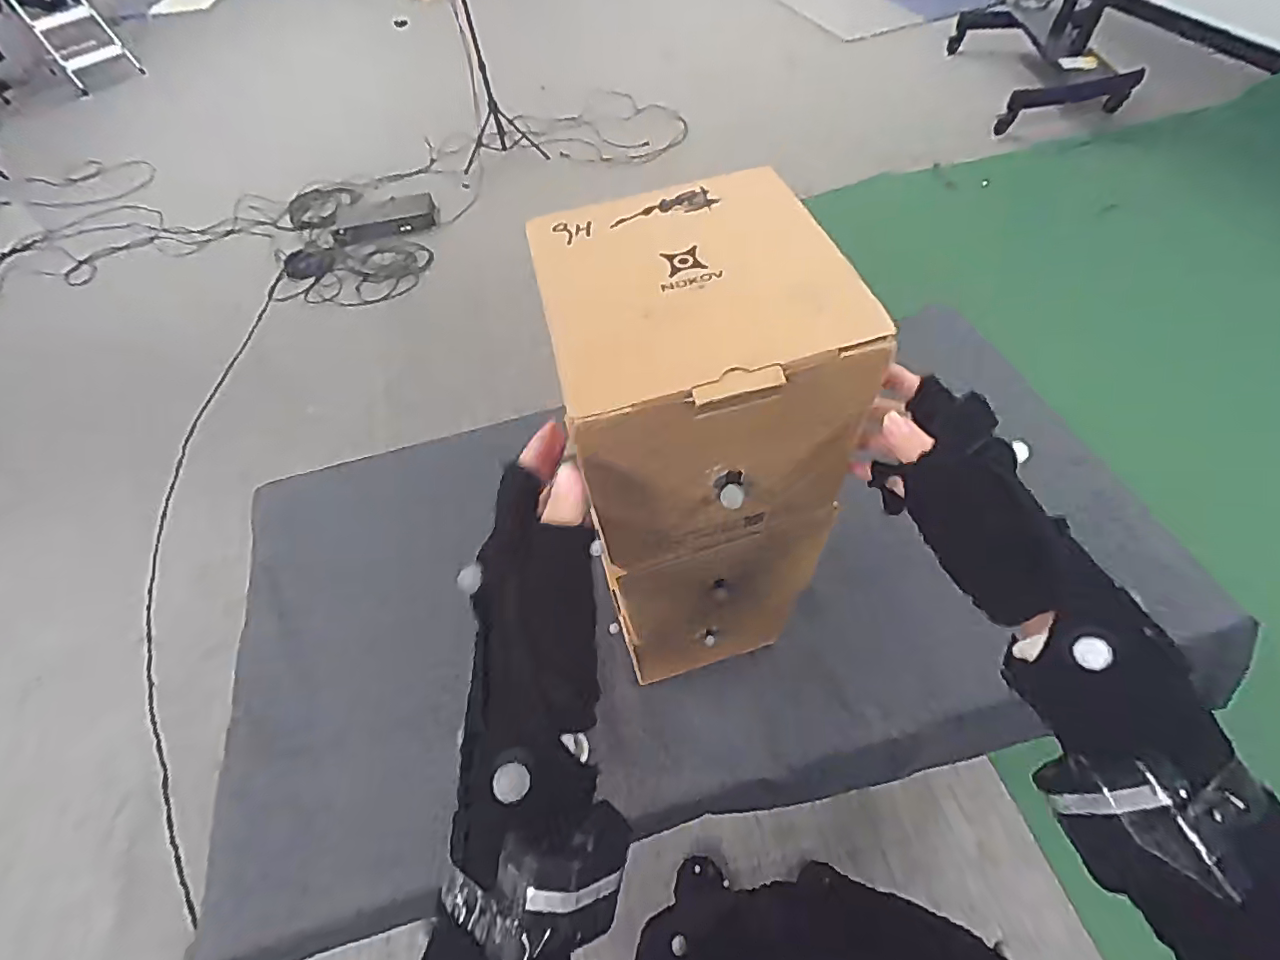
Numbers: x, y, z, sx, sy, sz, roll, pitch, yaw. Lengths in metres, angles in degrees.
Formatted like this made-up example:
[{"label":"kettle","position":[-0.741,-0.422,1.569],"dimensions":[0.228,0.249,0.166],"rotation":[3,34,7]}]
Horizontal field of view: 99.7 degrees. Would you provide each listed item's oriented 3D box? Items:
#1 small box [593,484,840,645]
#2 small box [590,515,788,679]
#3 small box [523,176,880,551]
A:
[{"label":"small box","position":[0.049,0.030,0.503],"dimensions":[0.179,0.176,0.168],"rotation":[-19,58,-7]},{"label":"small box","position":[0.052,0.117,0.641],"dimensions":[0.179,0.176,0.168],"rotation":[-15,57,-6]},{"label":"small box","position":[0.030,-0.066,0.370],"dimensions":[0.168,0.176,0.179],"rotation":[-14,57,-3]}]
